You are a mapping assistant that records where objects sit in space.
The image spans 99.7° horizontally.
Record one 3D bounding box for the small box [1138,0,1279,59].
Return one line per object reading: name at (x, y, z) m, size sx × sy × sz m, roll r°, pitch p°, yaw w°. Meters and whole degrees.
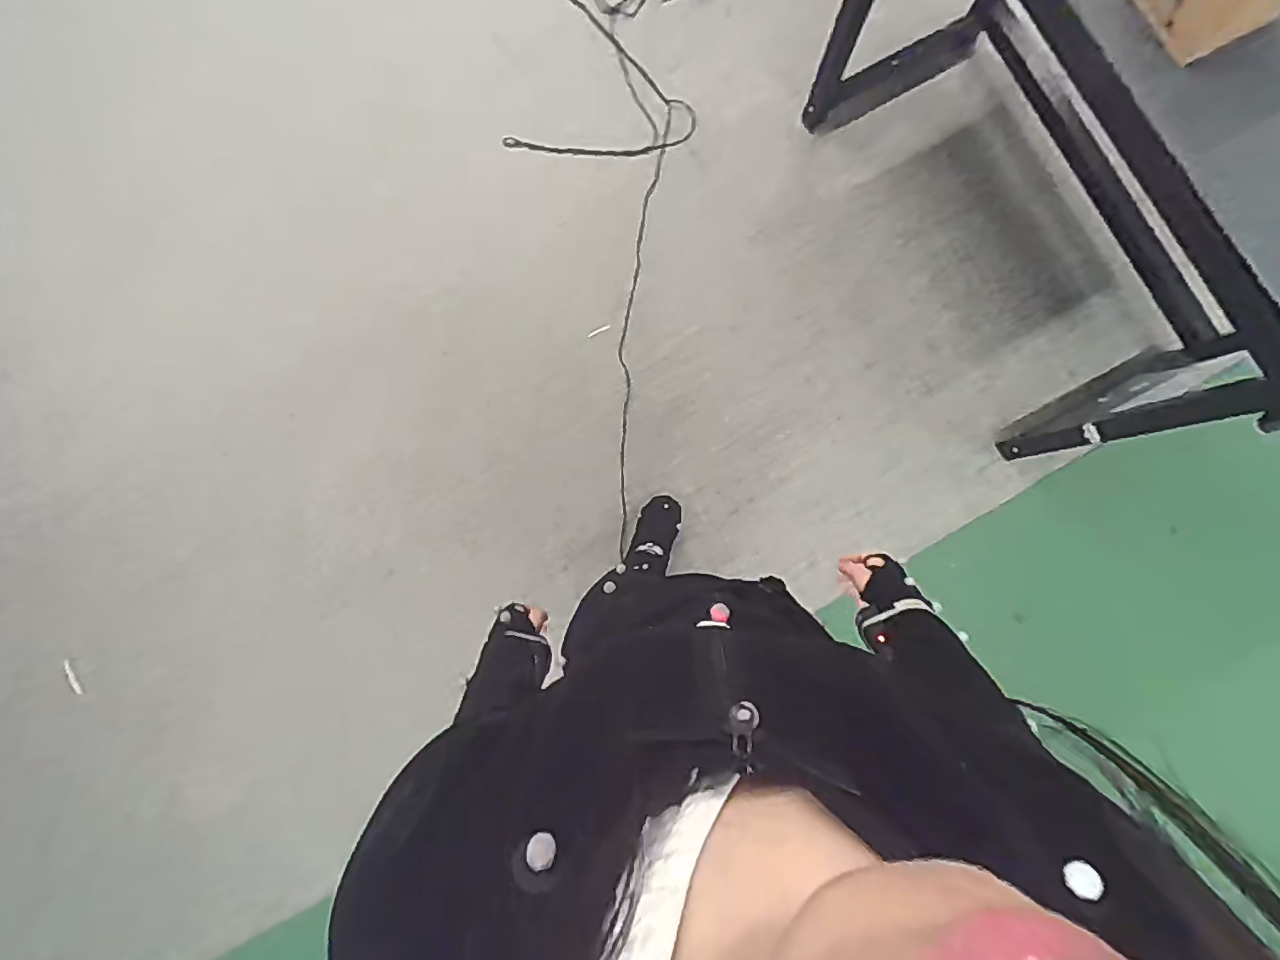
small box at (0.859, -0.752, 0.752) m, size 0.179 × 0.176 × 0.168 m, roll -28°, pitch 84°, yaw -2°
